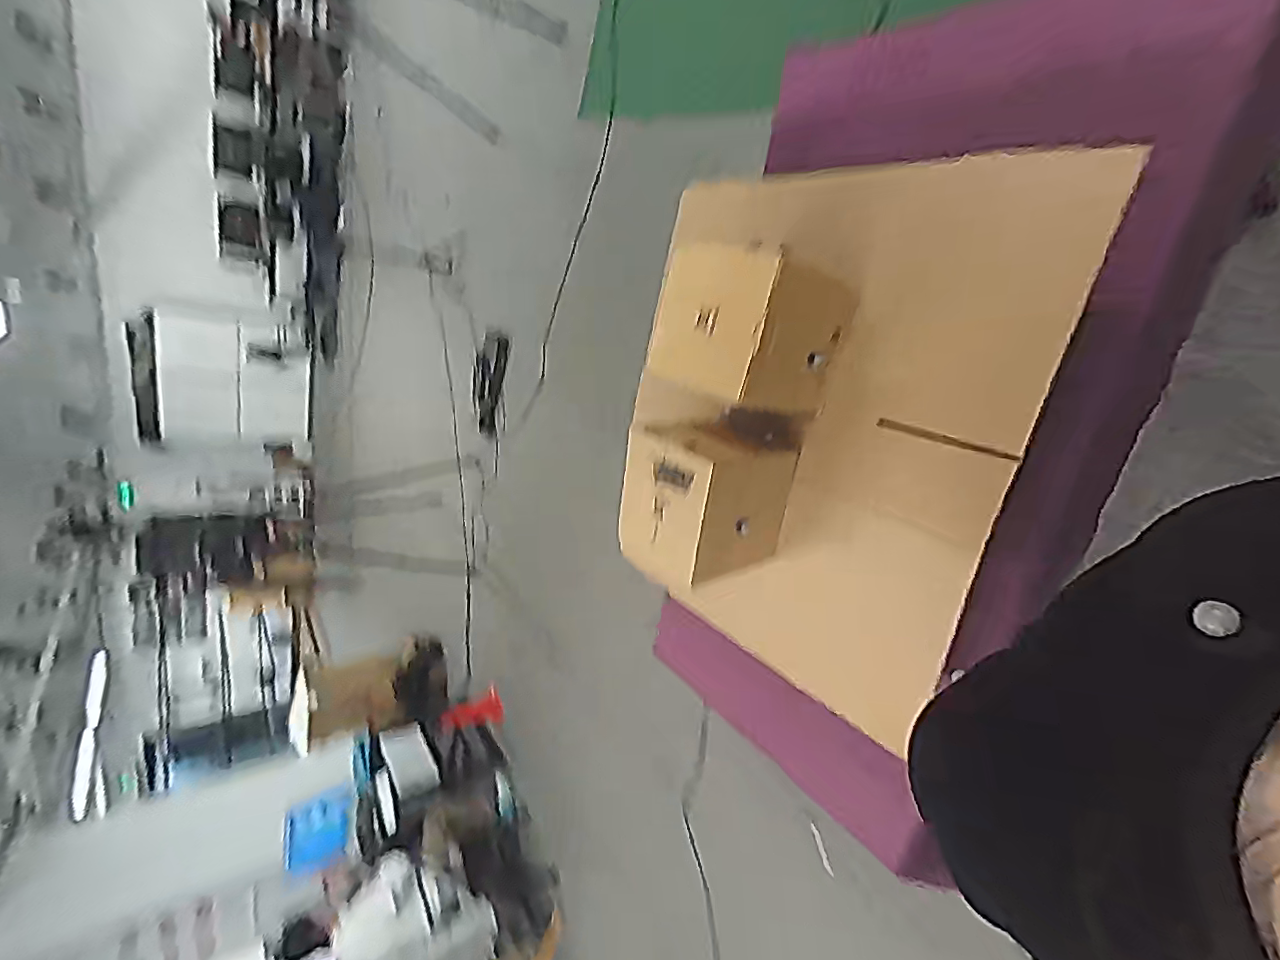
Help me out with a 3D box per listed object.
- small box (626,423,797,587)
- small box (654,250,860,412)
[{"bbox_3d":[0.102,0.022,0.780,0.168,0.176,0.179,30,120,46],"label":"small box"},{"bbox_3d":[0.152,-0.192,0.716,0.179,0.176,0.168,30,112,45],"label":"small box"}]
